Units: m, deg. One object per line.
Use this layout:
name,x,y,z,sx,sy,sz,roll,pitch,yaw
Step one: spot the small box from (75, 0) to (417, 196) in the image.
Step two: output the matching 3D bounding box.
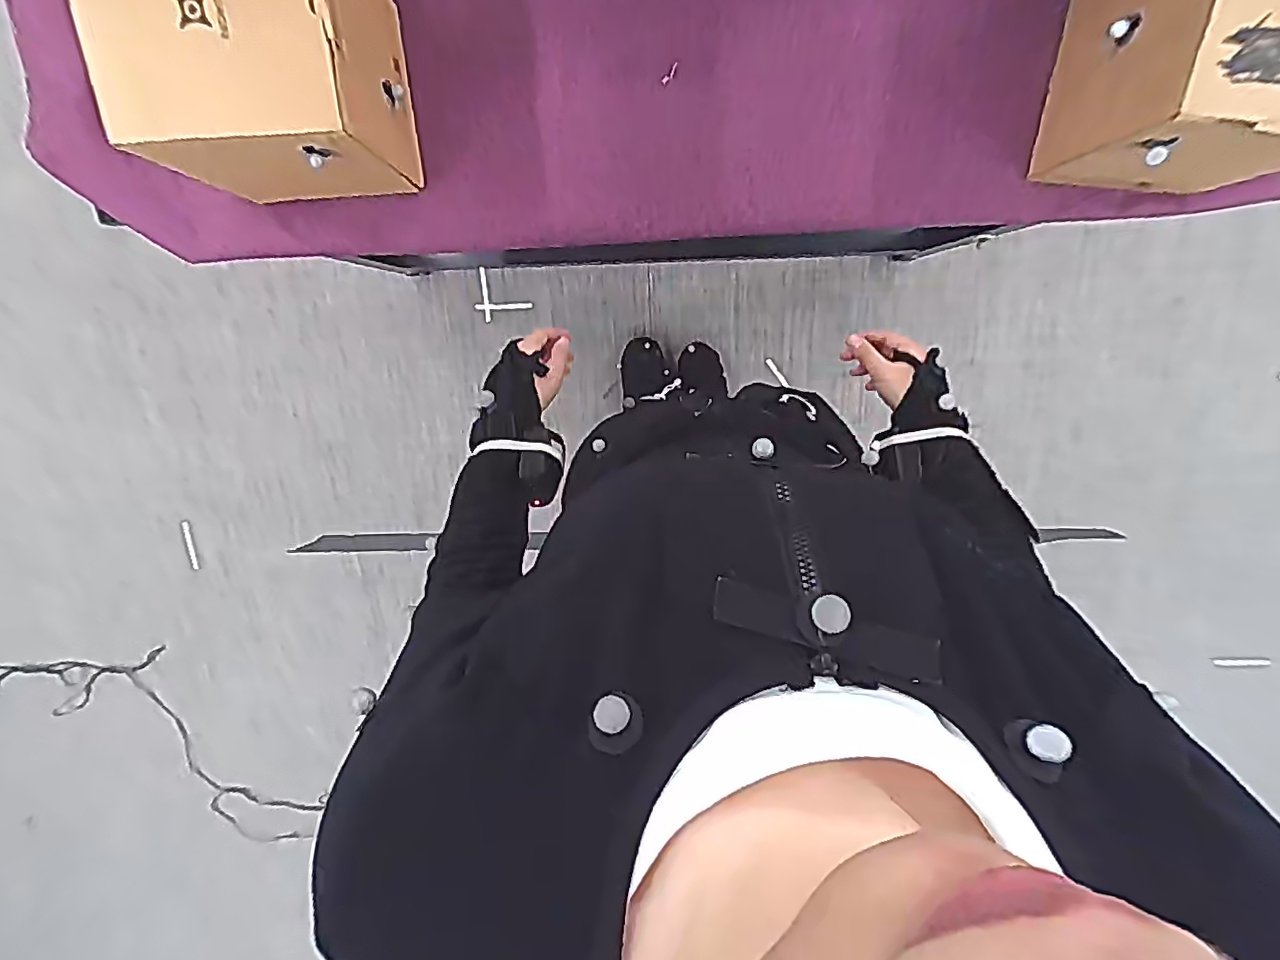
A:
small box,-0.320,-0.358,0.466,0.179,0.176,0.168,-5,105,-2
